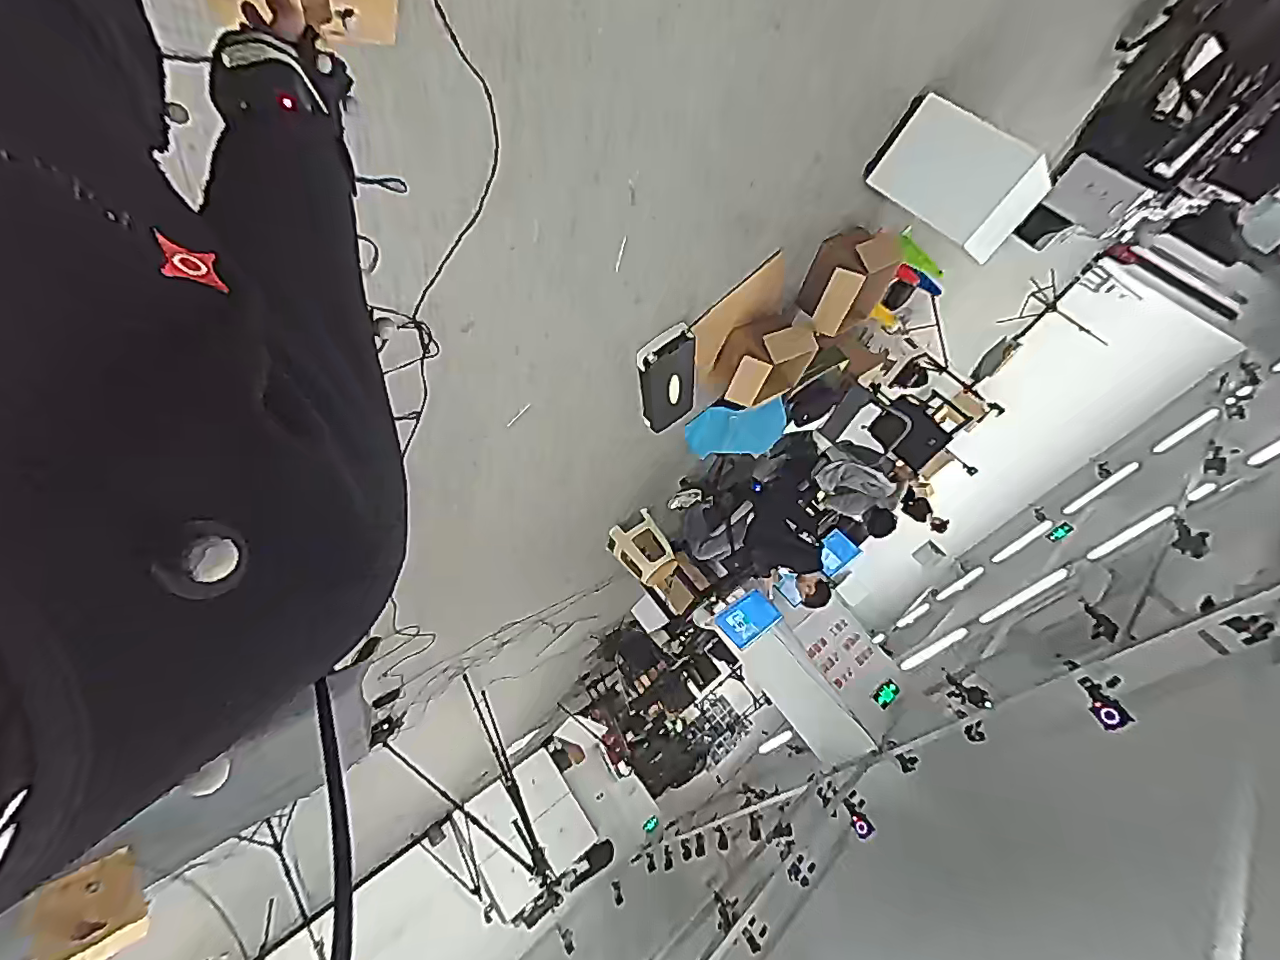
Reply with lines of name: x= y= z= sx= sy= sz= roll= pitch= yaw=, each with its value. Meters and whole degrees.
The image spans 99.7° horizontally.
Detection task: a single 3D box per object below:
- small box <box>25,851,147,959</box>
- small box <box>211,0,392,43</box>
small box: x=-1.234 y=0.979 z=1.212 sx=0.168 sy=0.176 sz=0.179 roll=-14 pitch=146 yaw=-49
small box: x=-0.332 y=-0.537 z=0.496 sx=0.168 sy=0.176 sz=0.179 roll=-14 pitch=114 yaw=-21
